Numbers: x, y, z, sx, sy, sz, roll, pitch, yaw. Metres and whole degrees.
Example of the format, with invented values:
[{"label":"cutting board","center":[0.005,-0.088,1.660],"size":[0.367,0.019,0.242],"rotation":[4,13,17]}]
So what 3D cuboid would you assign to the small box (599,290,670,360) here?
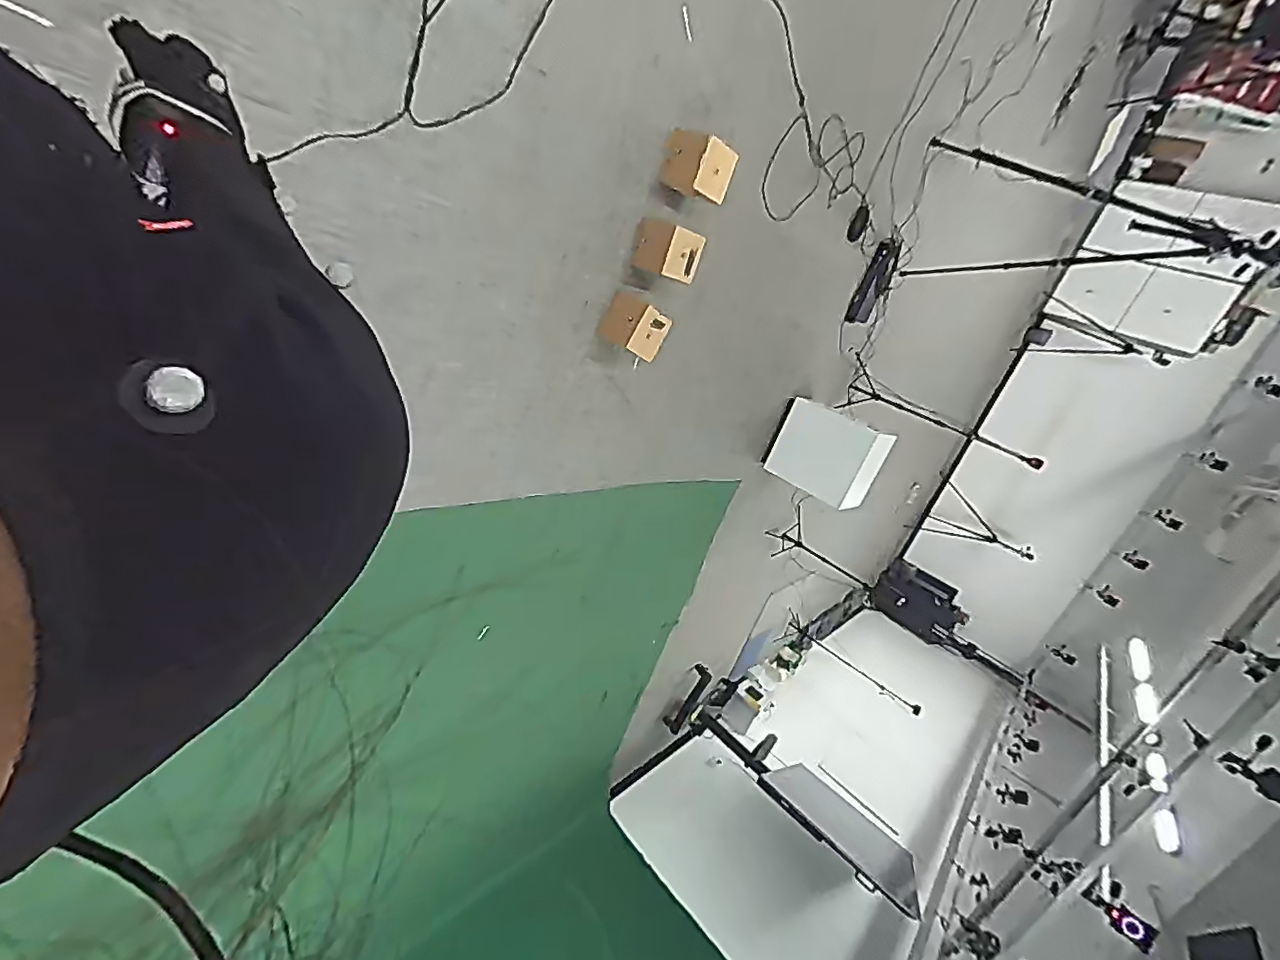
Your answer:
[{"label":"small box","center":[-0.025,-0.579,2.013],"size":[0.168,0.176,0.179],"rotation":[17,106,-55]}]

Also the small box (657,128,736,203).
[{"label":"small box","center":[0.192,-1.083,1.858],"size":[0.179,0.176,0.168],"rotation":[-5,122,-49]}]
